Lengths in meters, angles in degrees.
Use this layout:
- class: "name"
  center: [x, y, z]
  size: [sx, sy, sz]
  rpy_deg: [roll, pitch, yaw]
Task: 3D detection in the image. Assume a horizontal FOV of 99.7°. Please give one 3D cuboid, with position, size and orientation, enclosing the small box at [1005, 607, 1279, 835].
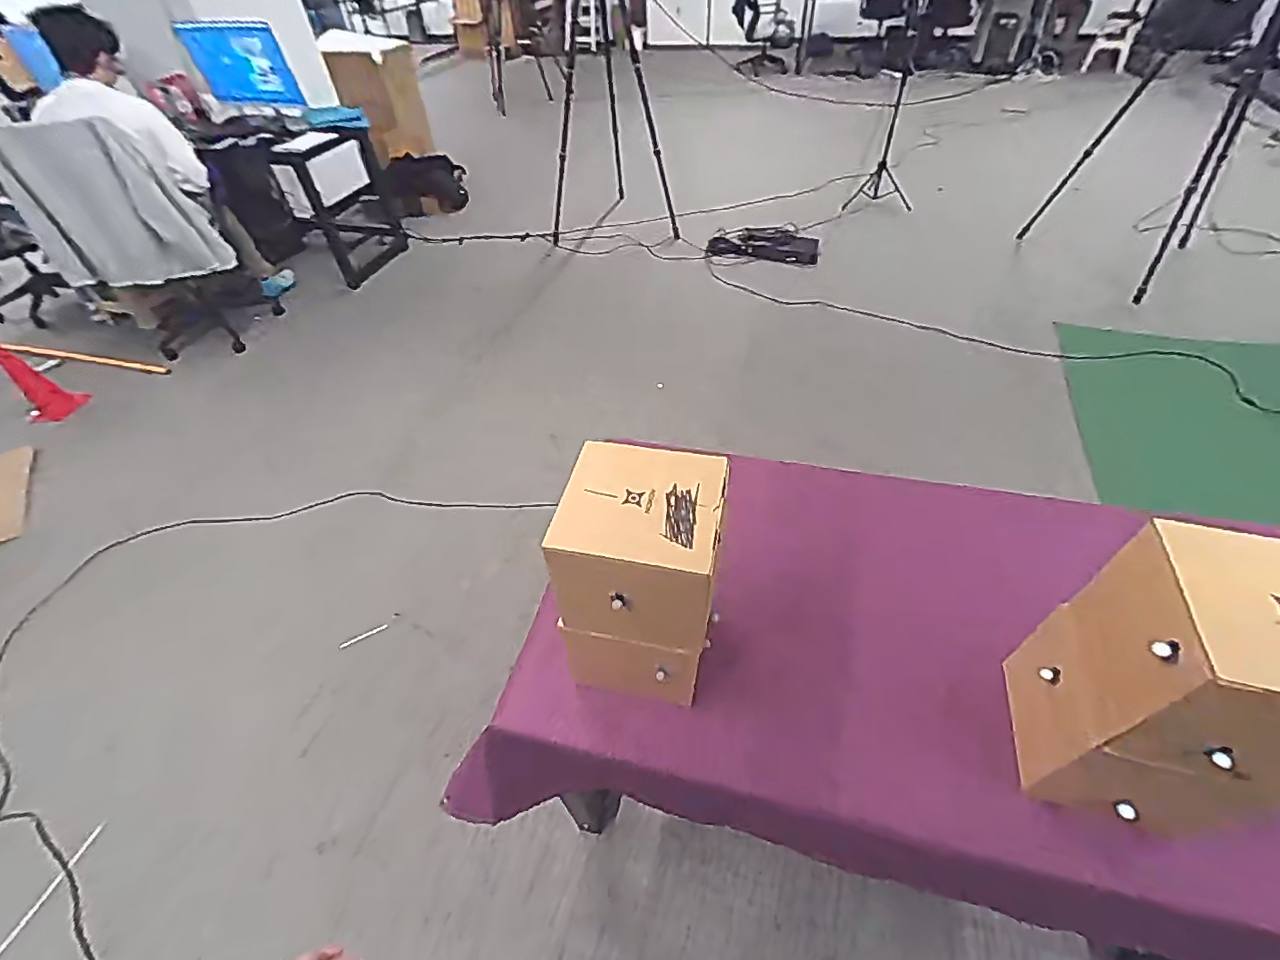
- class: "small box"
  center: [0.564, 0.284, 0.641]
  size: [0.168, 0.176, 0.179]
  rpy_deg: [11, 49, 14]

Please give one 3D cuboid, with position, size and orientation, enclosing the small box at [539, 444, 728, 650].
- class: "small box"
  center: [0.002, 0.082, 0.641]
  size: [0.179, 0.176, 0.168]
  rpy_deg: [8, 48, 10]

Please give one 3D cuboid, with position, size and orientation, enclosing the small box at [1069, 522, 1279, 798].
- class: "small box"
  center: [0.559, 0.173, 0.522]
  size: [0.168, 0.176, 0.179]
  rpy_deg: [11, 49, 14]
